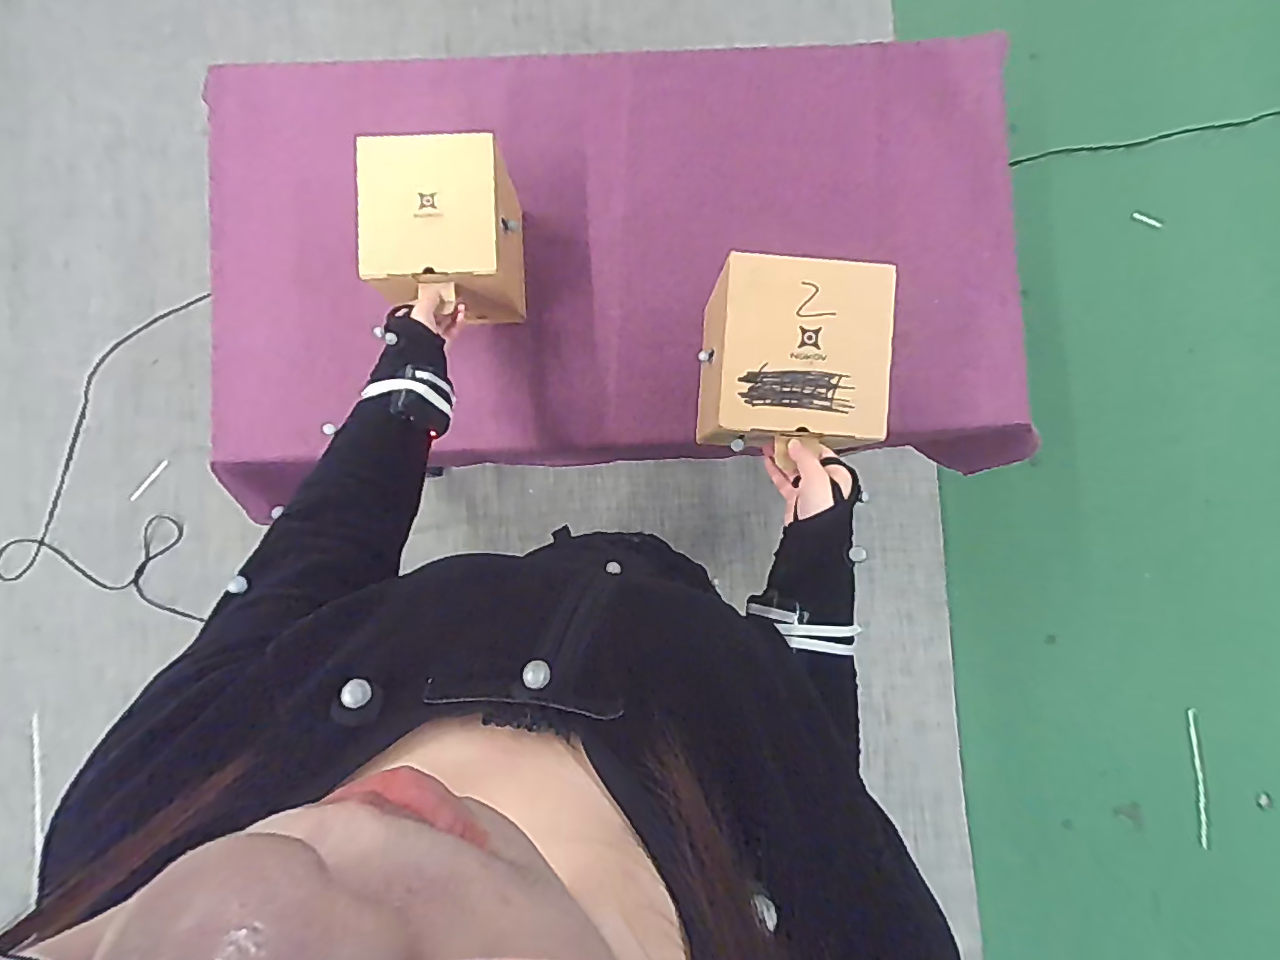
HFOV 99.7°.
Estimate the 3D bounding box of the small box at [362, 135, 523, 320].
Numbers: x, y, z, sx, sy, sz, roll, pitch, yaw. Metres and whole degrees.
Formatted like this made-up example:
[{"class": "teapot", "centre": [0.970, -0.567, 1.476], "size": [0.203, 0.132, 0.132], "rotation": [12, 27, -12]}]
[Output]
[{"class": "small box", "centre": [-0.259, -0.334, 0.741], "size": [0.168, 0.176, 0.179], "rotation": [-2, 87, -1]}]
